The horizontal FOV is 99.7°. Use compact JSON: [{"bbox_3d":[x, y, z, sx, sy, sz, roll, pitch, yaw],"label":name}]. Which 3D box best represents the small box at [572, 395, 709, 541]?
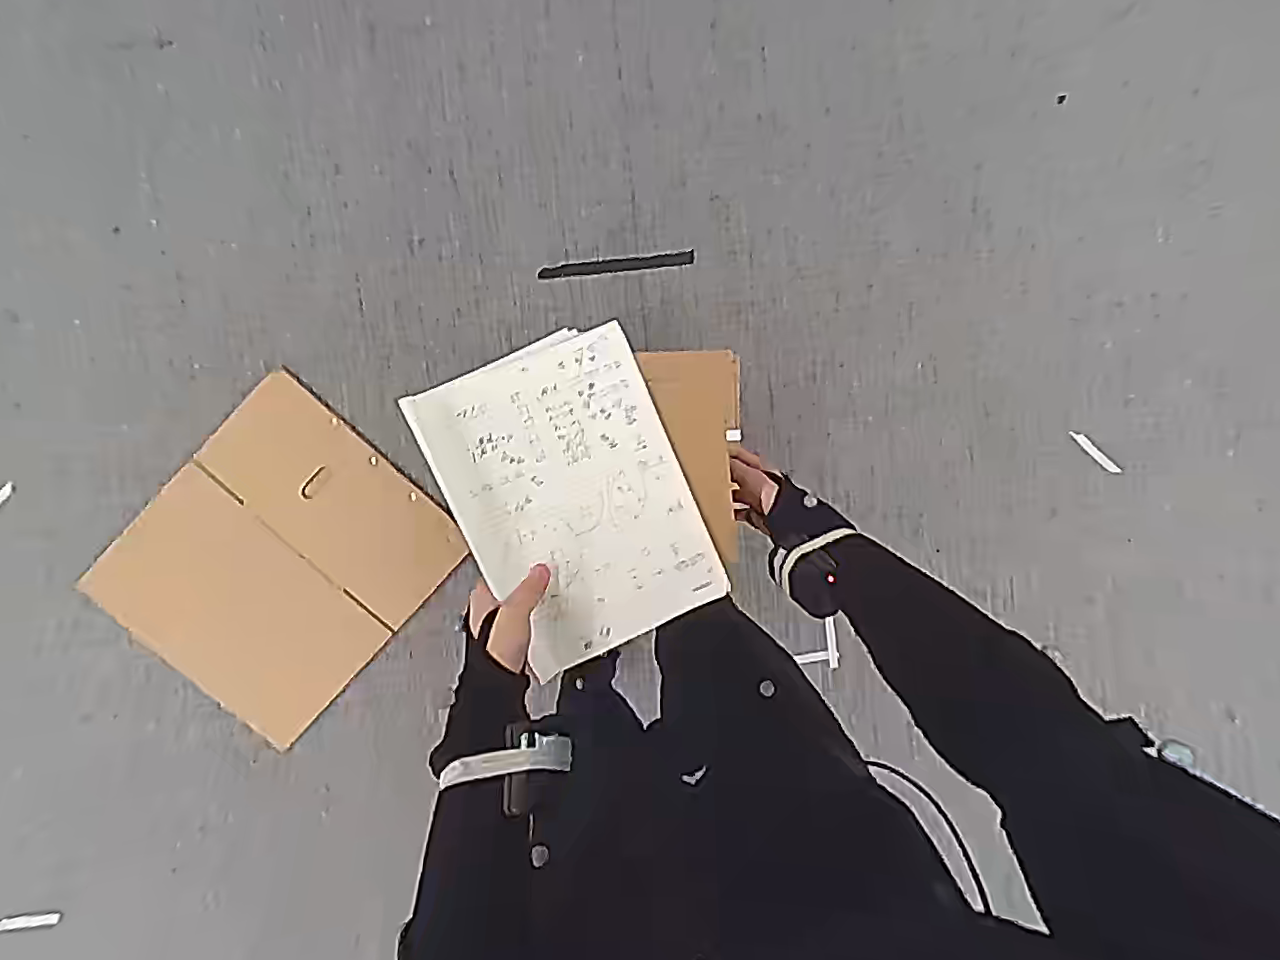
[{"bbox_3d":[-0.001,-0.023,0.731,0.168,0.176,0.179,-3,96,-3],"label":"small box"}]
